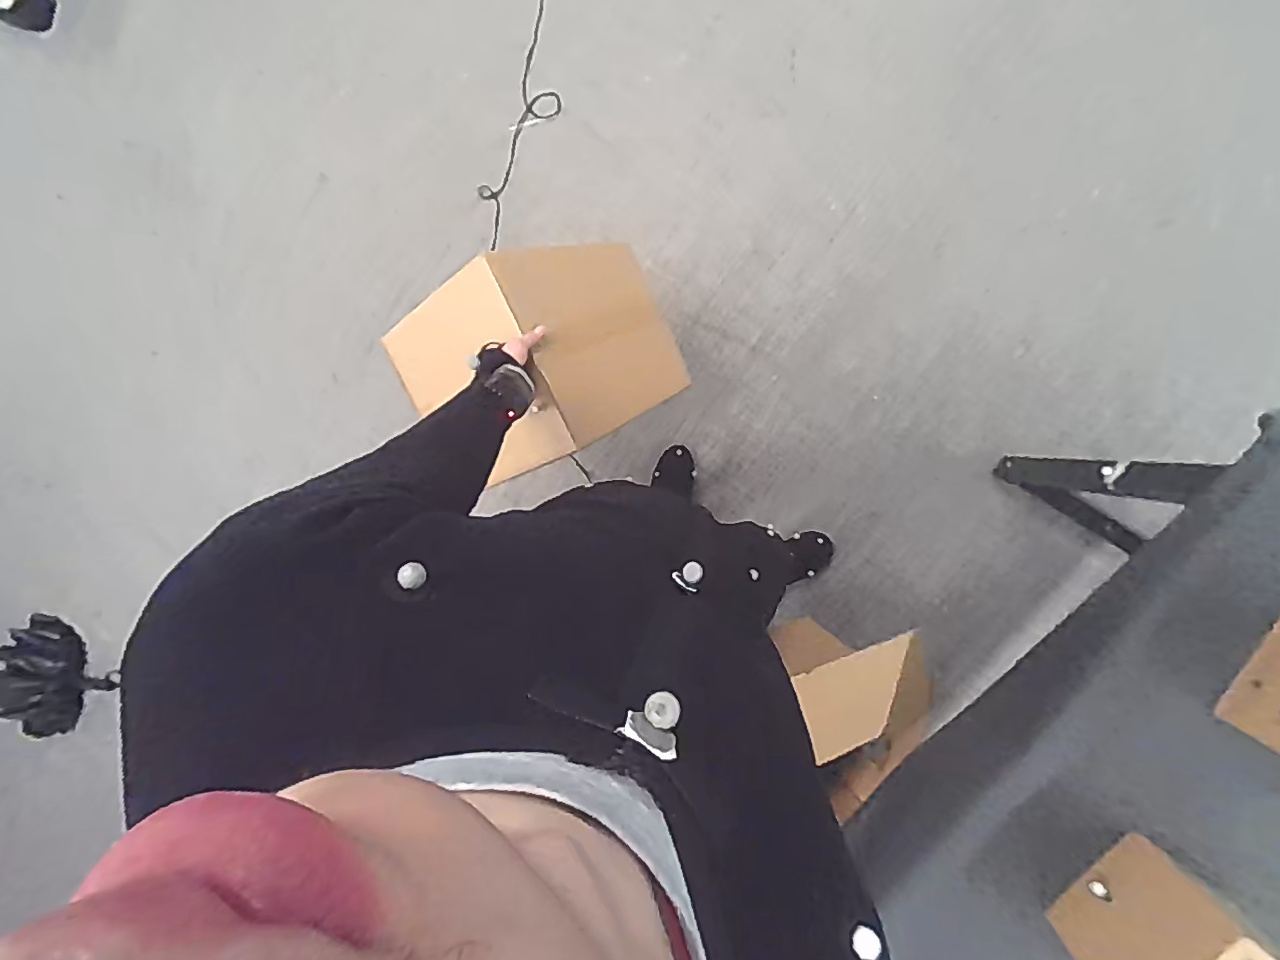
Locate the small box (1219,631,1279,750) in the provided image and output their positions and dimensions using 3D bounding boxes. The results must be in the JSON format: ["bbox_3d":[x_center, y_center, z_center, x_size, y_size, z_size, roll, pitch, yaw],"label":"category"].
[{"bbox_3d":[0.853,0.280,0.618,0.179,0.176,0.168,27,100,4],"label":"small box"}]

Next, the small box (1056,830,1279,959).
[{"bbox_3d":[0.672,0.597,0.671,0.168,0.176,0.179,38,100,4],"label":"small box"}]
